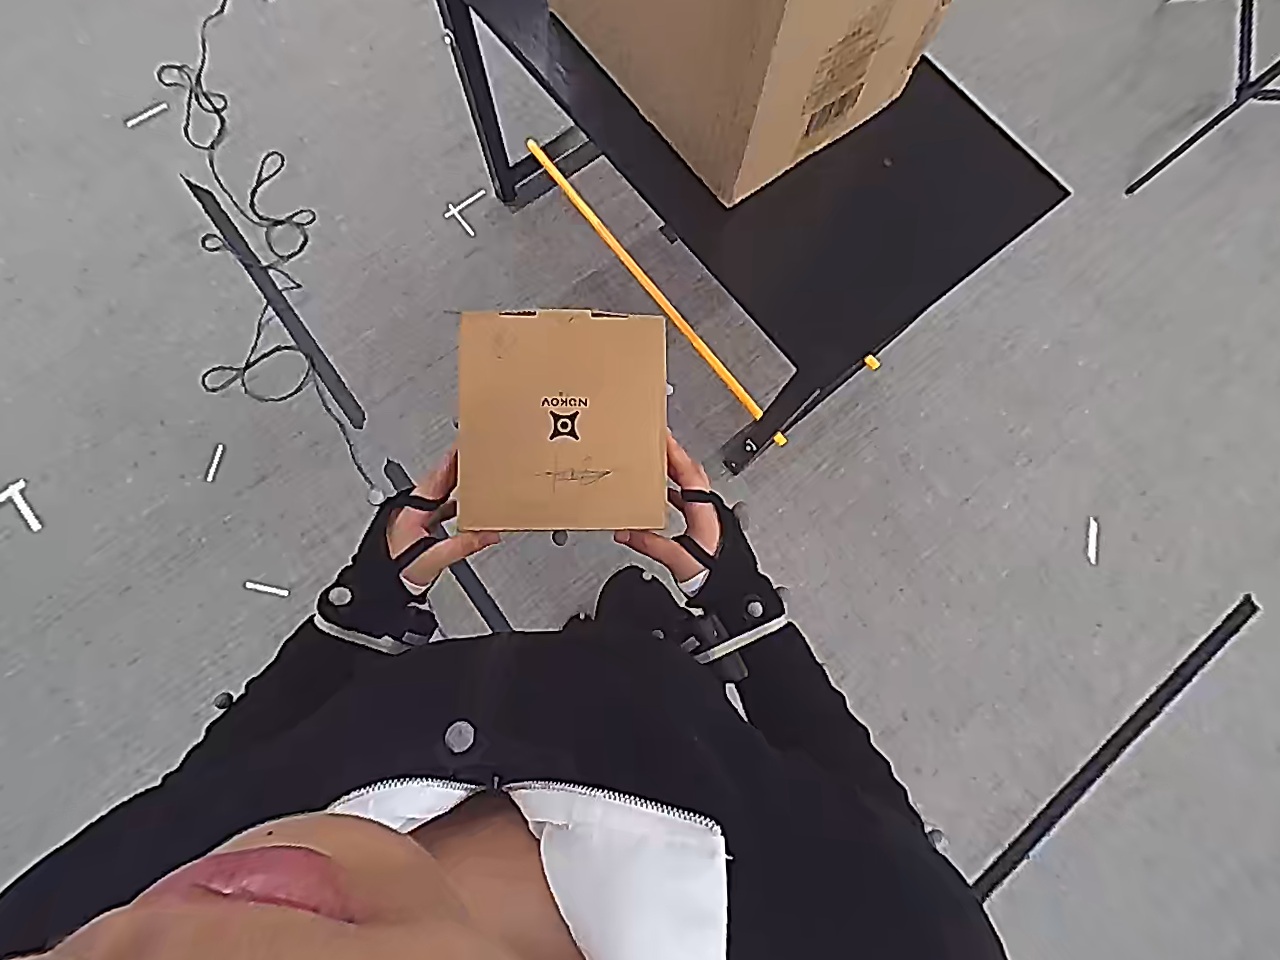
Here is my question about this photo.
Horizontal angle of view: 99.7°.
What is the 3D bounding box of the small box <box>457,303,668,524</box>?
[{"bbox_3d":[-0.066,-0.048,0.507,0.168,0.176,0.179,0,87,-4],"label":"small box"}]
